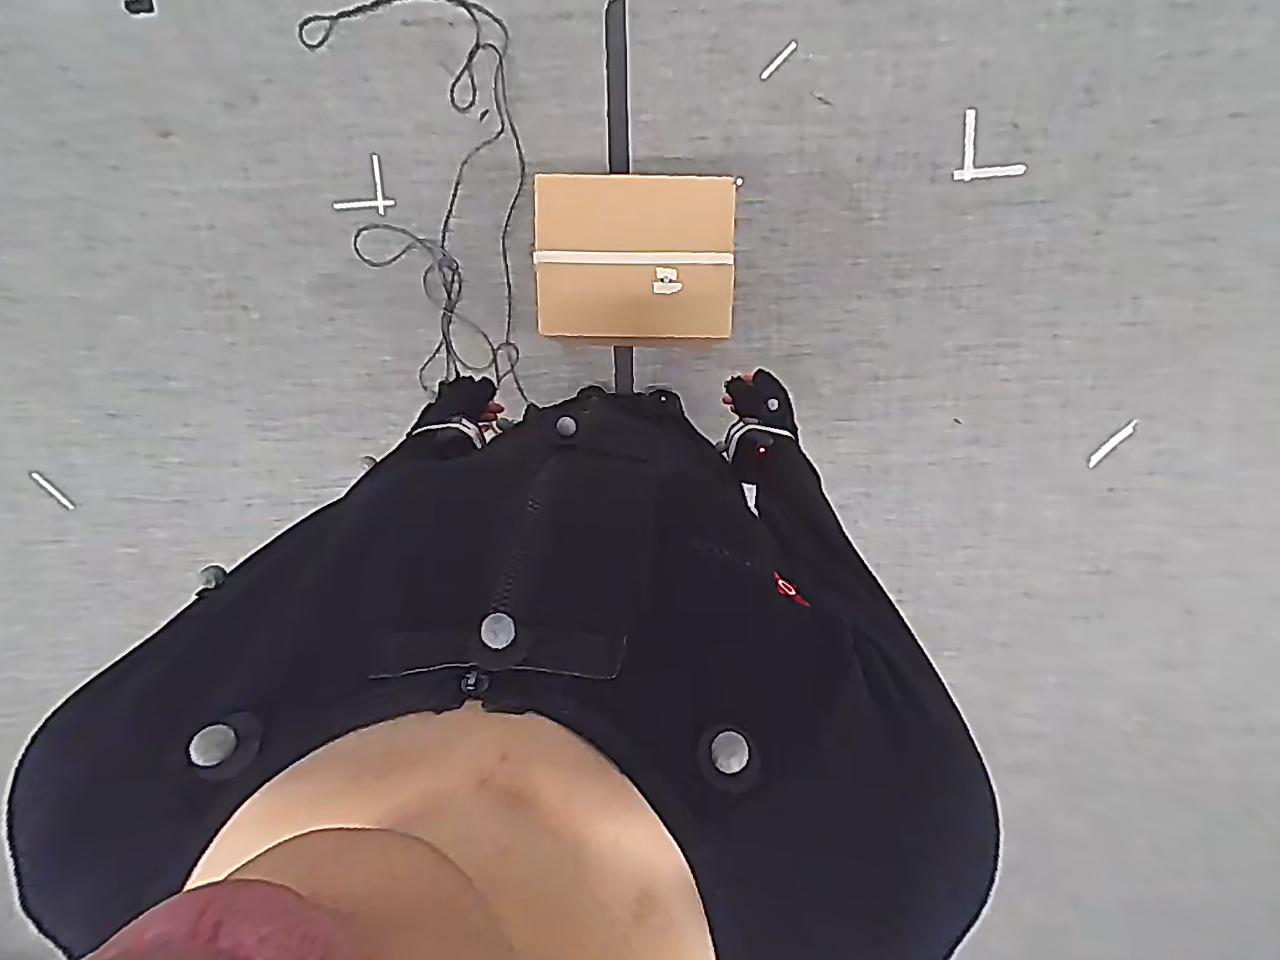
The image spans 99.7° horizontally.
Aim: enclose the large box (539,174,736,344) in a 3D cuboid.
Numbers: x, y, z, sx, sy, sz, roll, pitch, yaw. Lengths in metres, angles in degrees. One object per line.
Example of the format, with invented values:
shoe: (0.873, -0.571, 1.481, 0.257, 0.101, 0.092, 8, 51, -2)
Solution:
large box: (-0.008, -0.489, 1.258, 0.408, 0.320, 0.320, 1, 101, 0)
